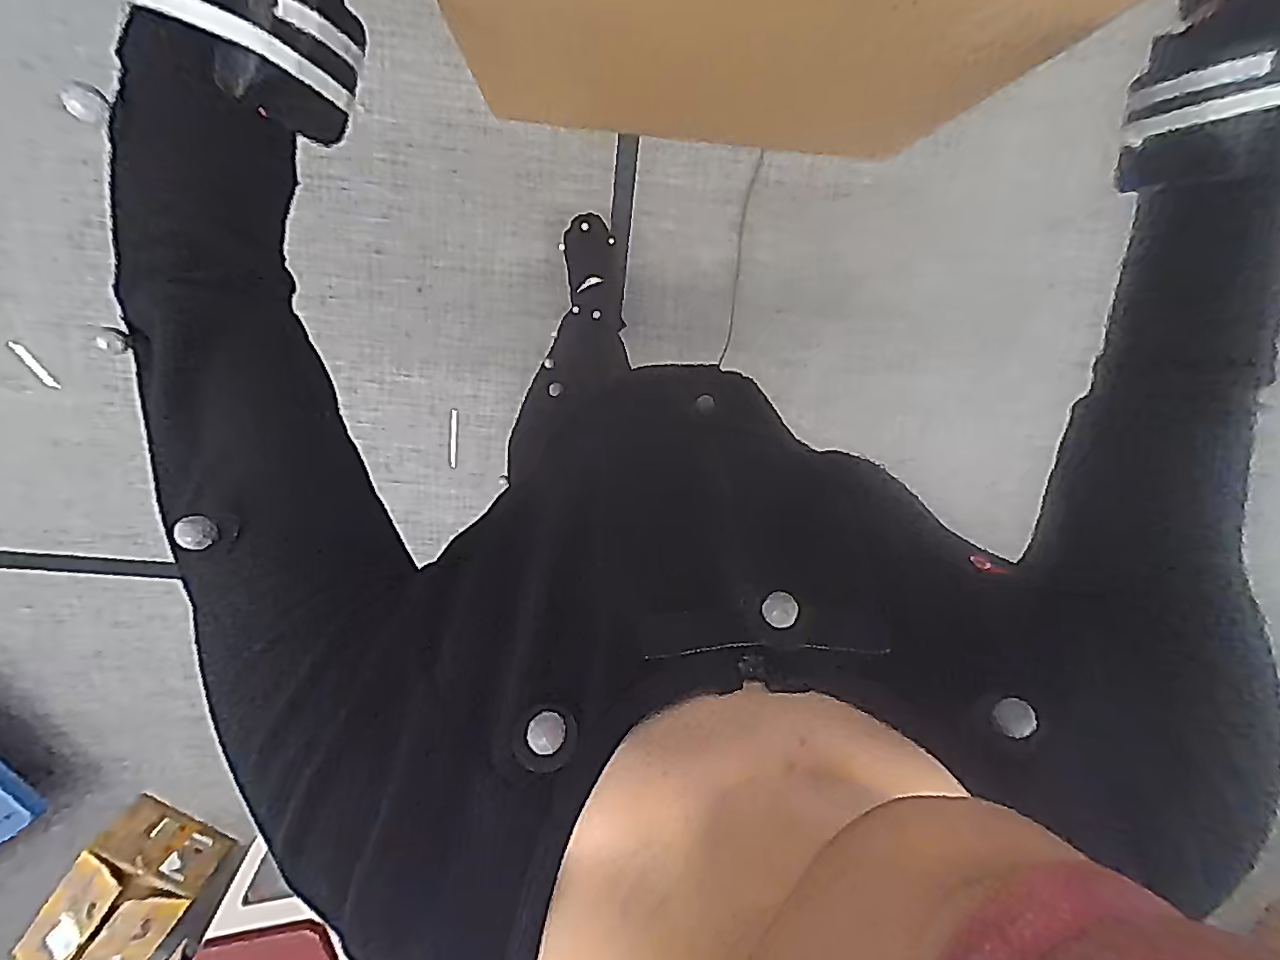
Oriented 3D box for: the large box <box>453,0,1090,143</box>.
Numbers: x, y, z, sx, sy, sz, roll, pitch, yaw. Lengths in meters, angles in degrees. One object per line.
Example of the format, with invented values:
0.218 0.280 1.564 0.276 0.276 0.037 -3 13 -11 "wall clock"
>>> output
0.076 -0.459 0.359 0.408 0.320 0.320 2 105 -6 "large box"
